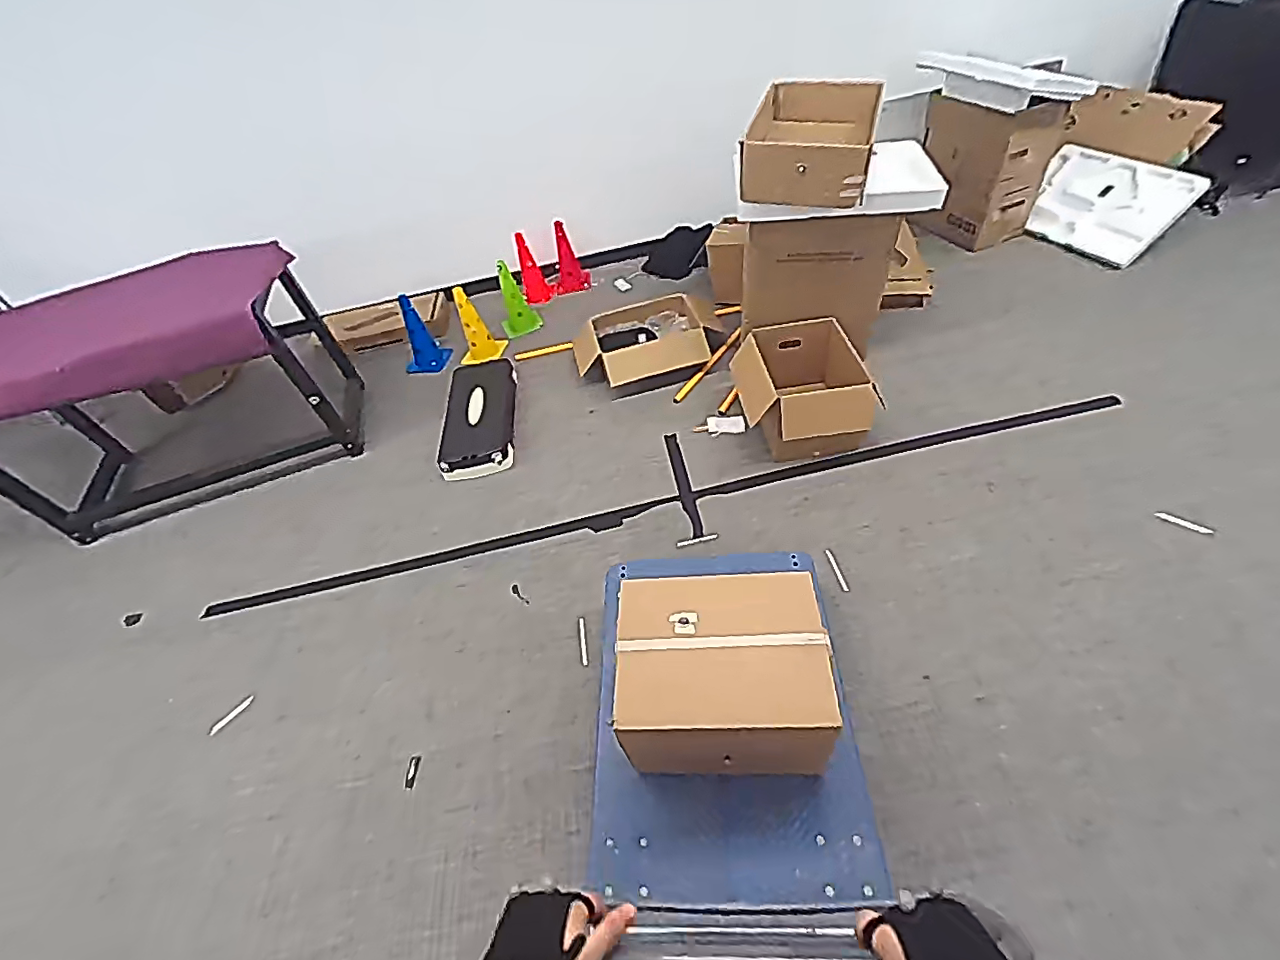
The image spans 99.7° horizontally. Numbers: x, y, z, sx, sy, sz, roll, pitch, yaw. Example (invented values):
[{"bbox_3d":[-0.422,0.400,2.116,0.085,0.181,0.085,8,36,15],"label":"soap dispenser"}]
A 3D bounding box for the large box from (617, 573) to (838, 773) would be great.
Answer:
[{"bbox_3d":[0.179,0.430,1.181,0.408,0.320,0.320,-6,47,7],"label":"large box"}]
